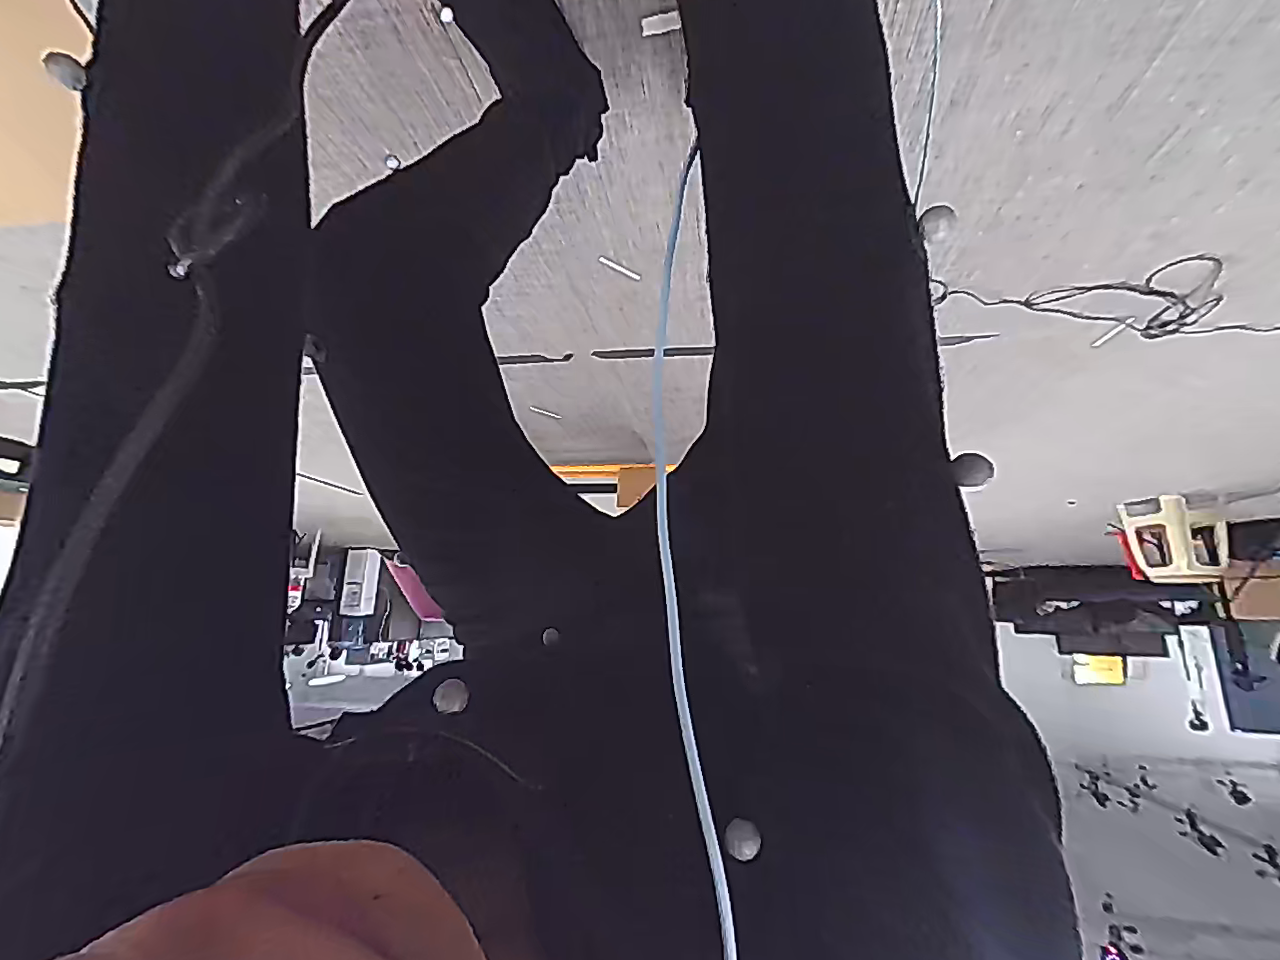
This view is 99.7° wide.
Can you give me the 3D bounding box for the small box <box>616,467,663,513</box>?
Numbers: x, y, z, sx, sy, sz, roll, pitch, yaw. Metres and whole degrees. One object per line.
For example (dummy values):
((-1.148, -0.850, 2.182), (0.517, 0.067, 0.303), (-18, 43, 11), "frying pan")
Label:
((0.001, 0.042, 2.304), (0.179, 0.176, 0.168), (-1, 166, 11), "small box")
